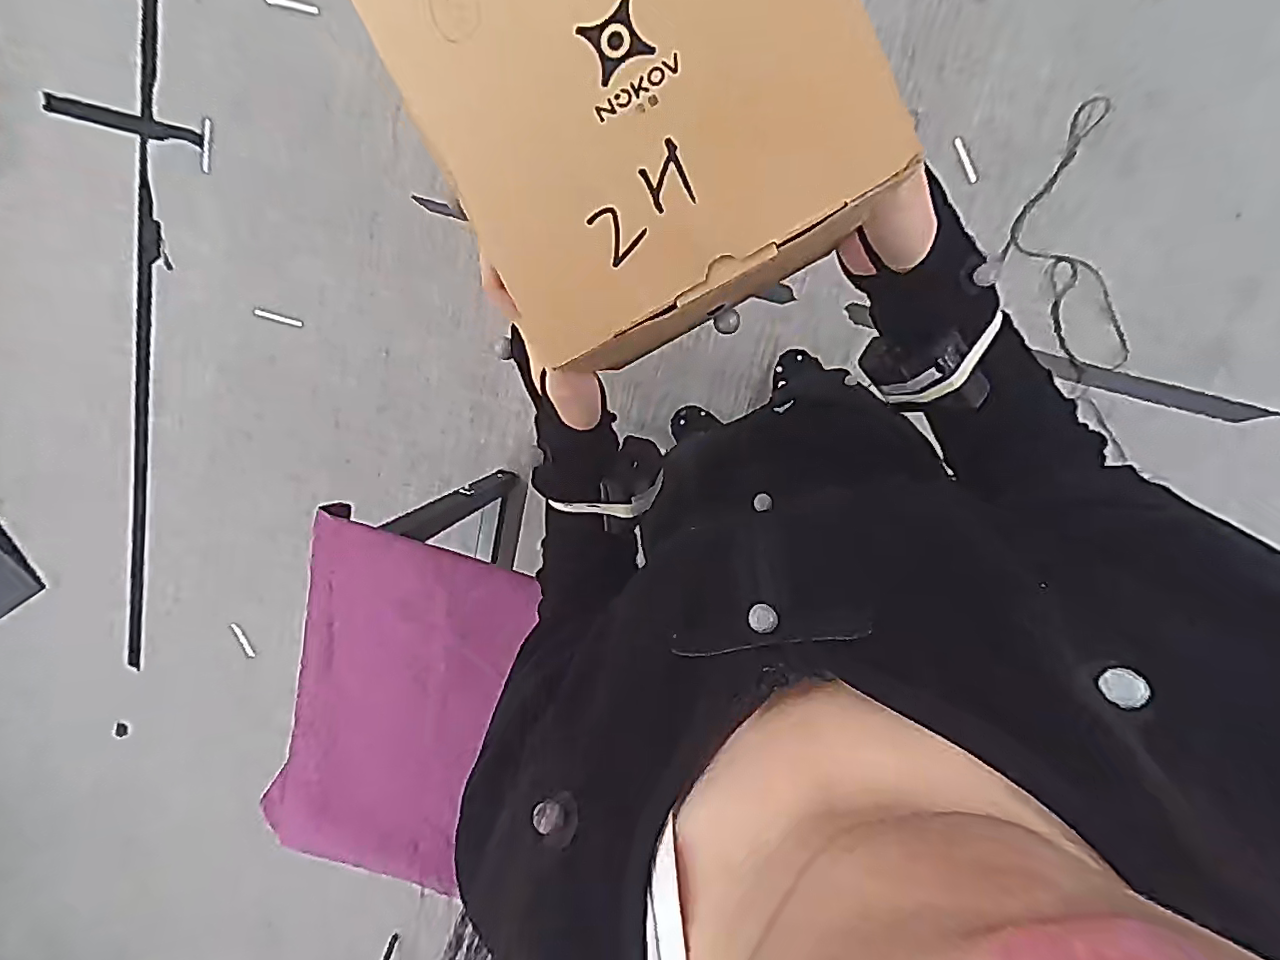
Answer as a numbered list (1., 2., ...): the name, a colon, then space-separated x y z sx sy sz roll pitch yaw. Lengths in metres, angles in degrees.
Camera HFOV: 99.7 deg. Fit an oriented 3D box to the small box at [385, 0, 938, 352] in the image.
1. small box: 0.009 -0.180 0.281 0.168 0.176 0.179 -26 98 11
